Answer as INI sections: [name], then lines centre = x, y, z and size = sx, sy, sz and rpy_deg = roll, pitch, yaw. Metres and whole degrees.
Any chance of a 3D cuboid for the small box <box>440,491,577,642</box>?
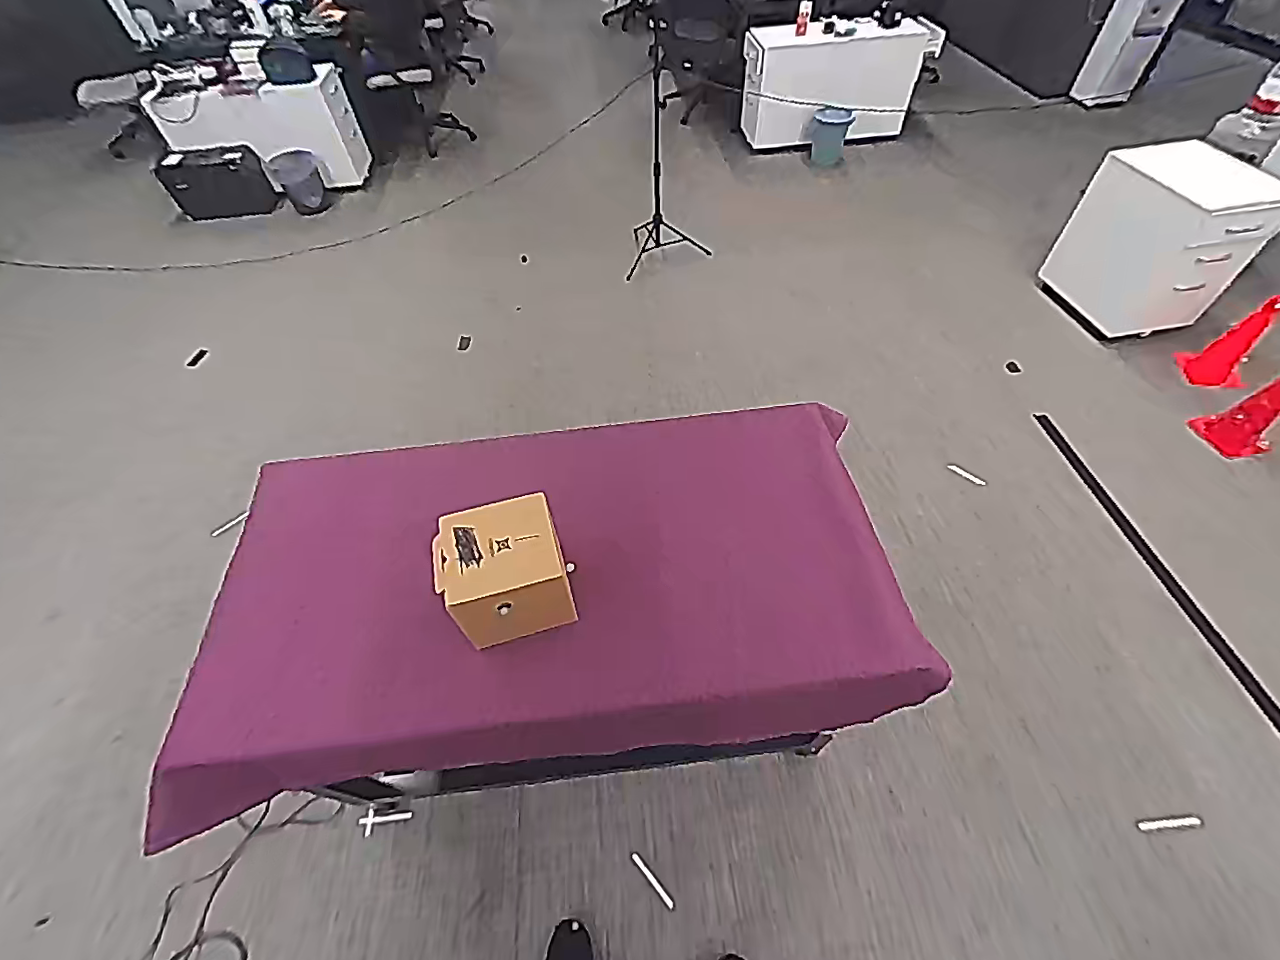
[small box]
centre = -0.215, 0.148, 0.900
size = 0.179, 0.176, 0.168
rpy_deg = -14, 53, -9
